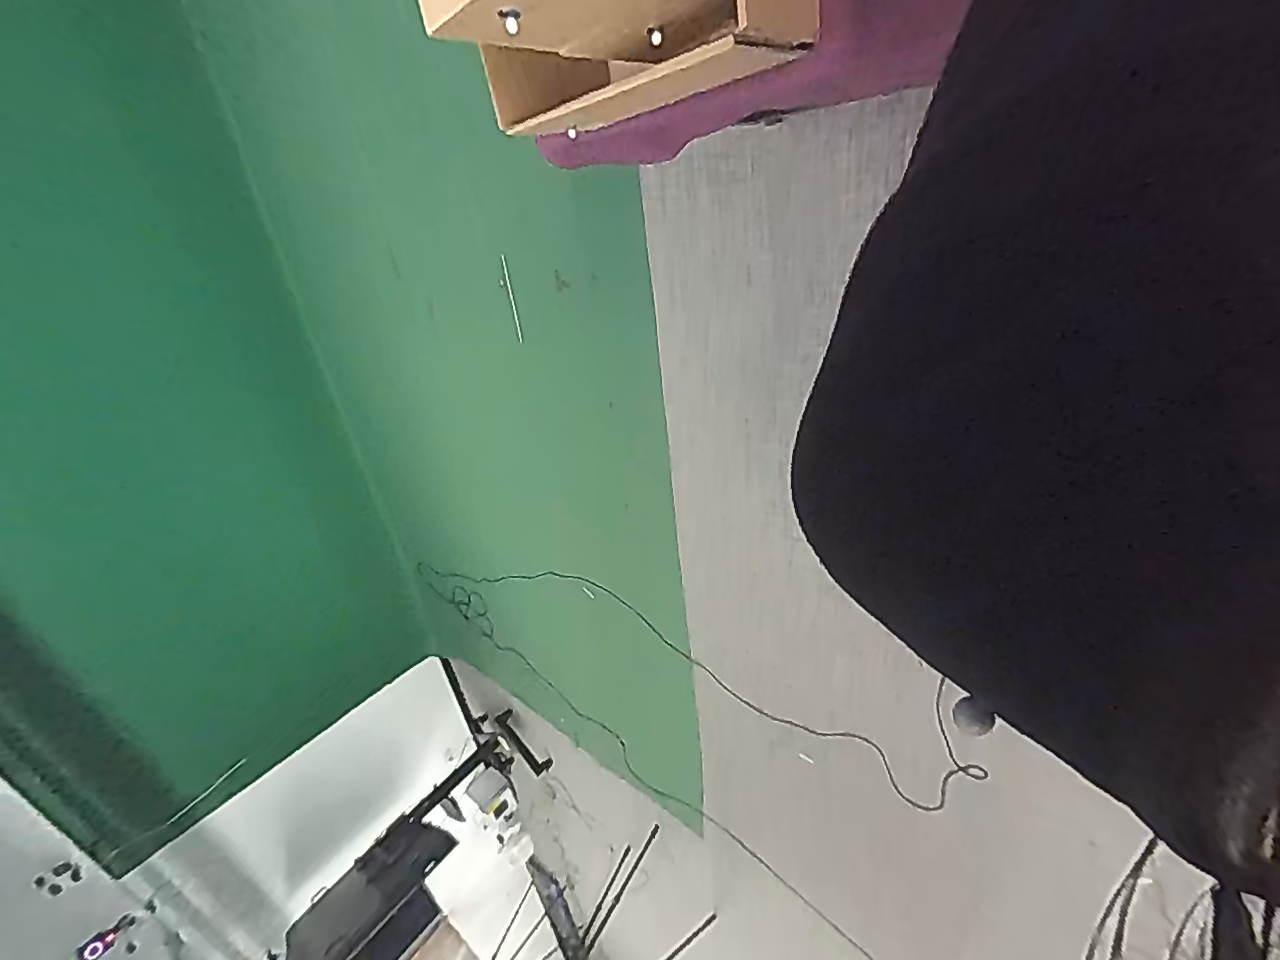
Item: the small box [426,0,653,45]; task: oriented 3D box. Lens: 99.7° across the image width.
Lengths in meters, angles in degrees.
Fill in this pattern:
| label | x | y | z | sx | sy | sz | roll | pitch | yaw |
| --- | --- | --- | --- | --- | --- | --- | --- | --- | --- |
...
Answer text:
| label | x | y | z | sx | sy | sz | roll | pitch | yaw |
| --- | --- | --- | --- | --- | --- | --- | --- | --- | --- |
| small box | -0.094 | -0.521 | 0.486 | 0.179 | 0.176 | 0.168 | 13 | 125 | 39 |
